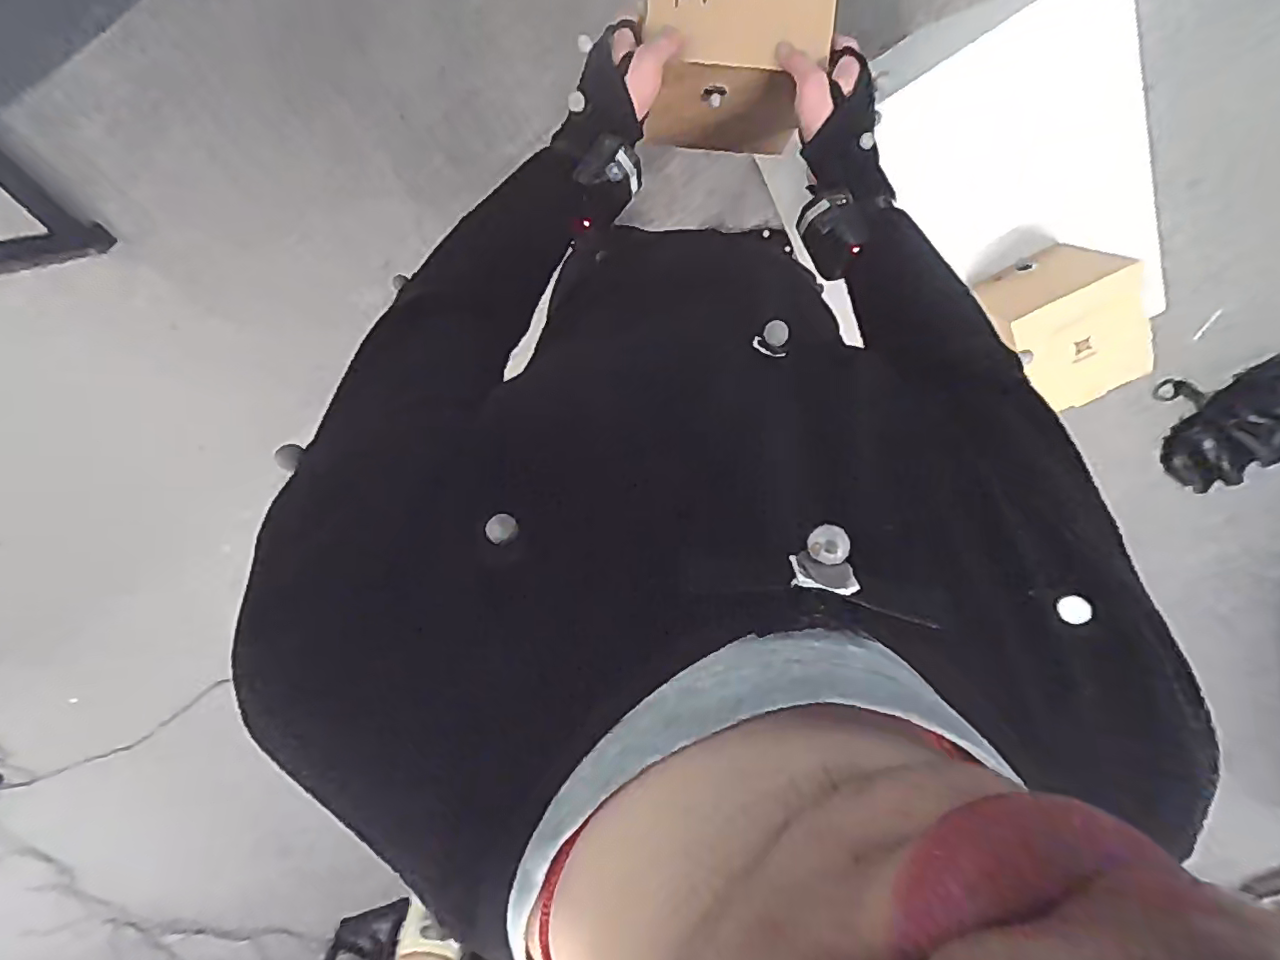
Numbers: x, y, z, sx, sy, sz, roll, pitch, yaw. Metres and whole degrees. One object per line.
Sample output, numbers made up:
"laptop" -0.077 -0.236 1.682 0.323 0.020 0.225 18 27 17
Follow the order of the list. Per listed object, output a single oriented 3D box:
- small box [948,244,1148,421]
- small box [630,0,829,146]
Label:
"small box" 0.594 -0.223 0.803 0.168 0.176 0.179 -26 117 15
"small box" 0.084 -0.470 0.554 0.179 0.176 0.168 4 99 -1
